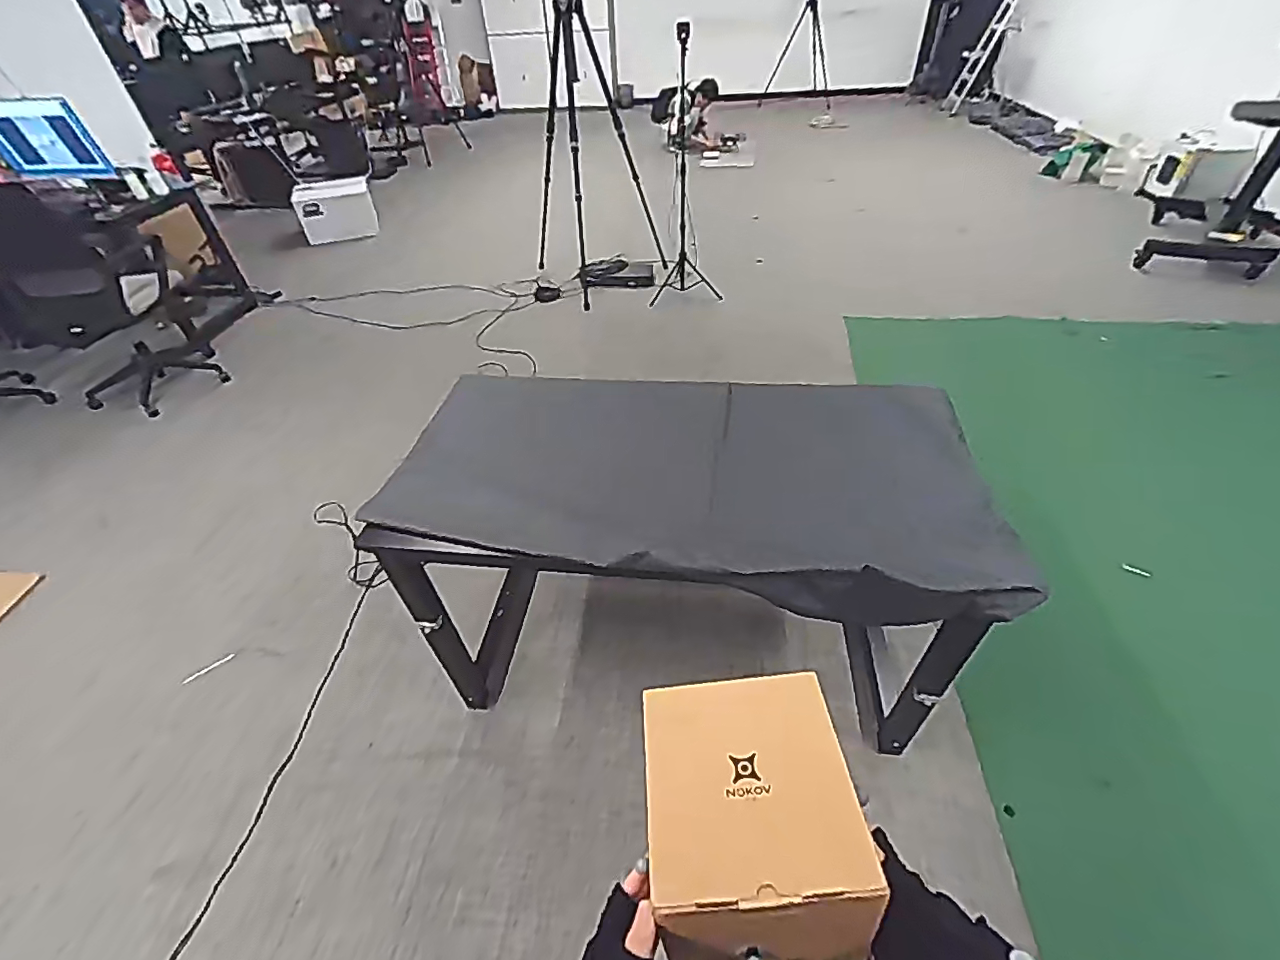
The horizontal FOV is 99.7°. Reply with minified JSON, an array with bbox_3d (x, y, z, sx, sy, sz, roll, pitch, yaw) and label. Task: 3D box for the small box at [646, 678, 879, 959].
[{"bbox_3d":[0.096,0.314,0.500,0.168,0.176,0.179,-7,36,3],"label":"small box"}]
